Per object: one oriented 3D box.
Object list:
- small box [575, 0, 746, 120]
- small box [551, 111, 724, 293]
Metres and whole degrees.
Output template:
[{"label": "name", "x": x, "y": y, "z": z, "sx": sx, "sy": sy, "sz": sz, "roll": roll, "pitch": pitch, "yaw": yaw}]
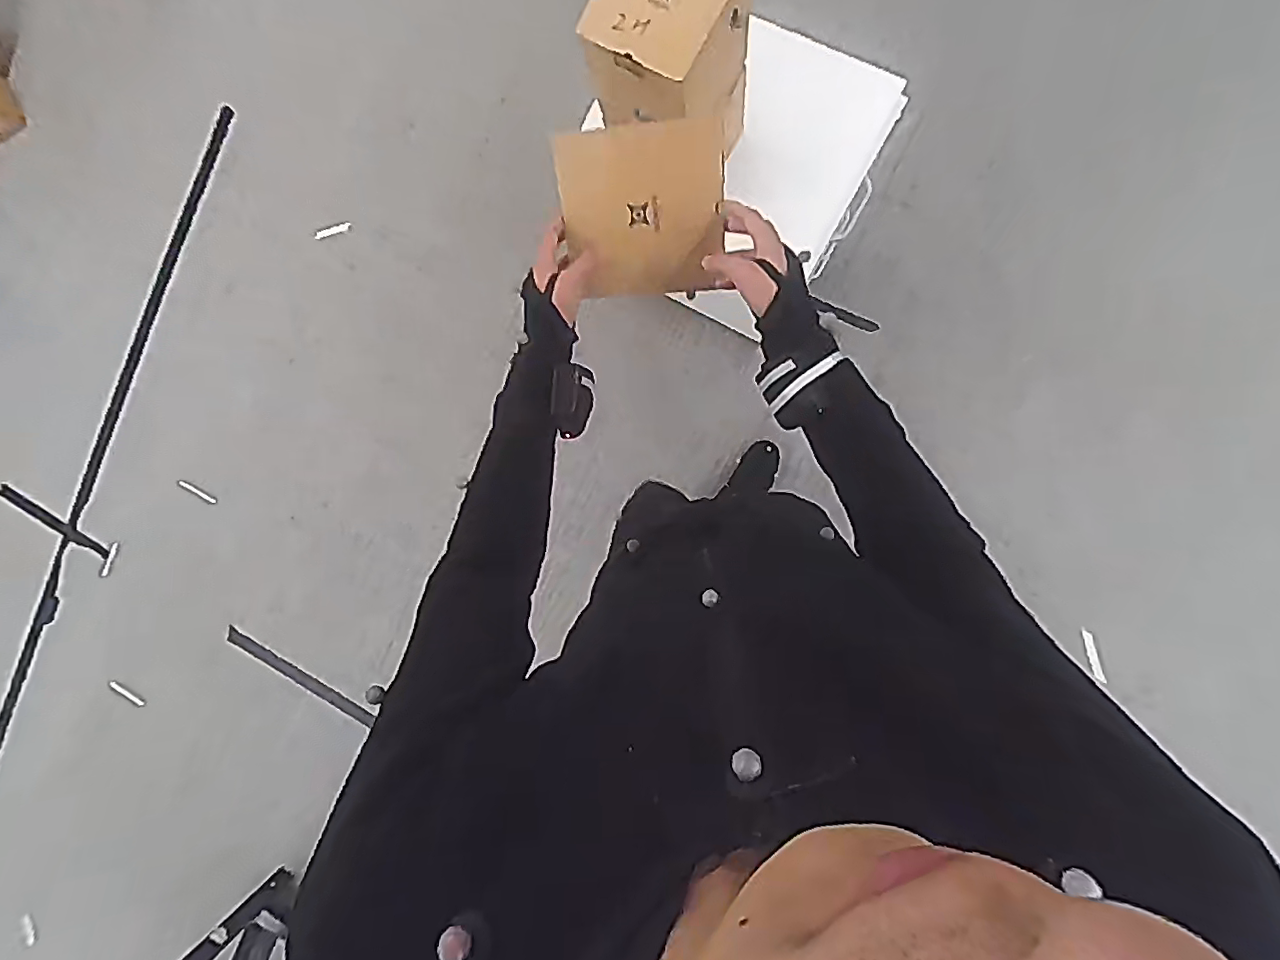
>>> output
[{"label": "small box", "x": 0.036, "y": -0.612, "z": 0.767, "sx": 0.168, "sy": 0.176, "sz": 0.179, "roll": 31, "pitch": 96, "yaw": 7}, {"label": "small box", "x": 0.008, "y": -0.325, "z": 0.641, "sx": 0.179, "sy": 0.176, "sz": 0.168, "roll": -2, "pitch": 119, "yaw": 5}]
